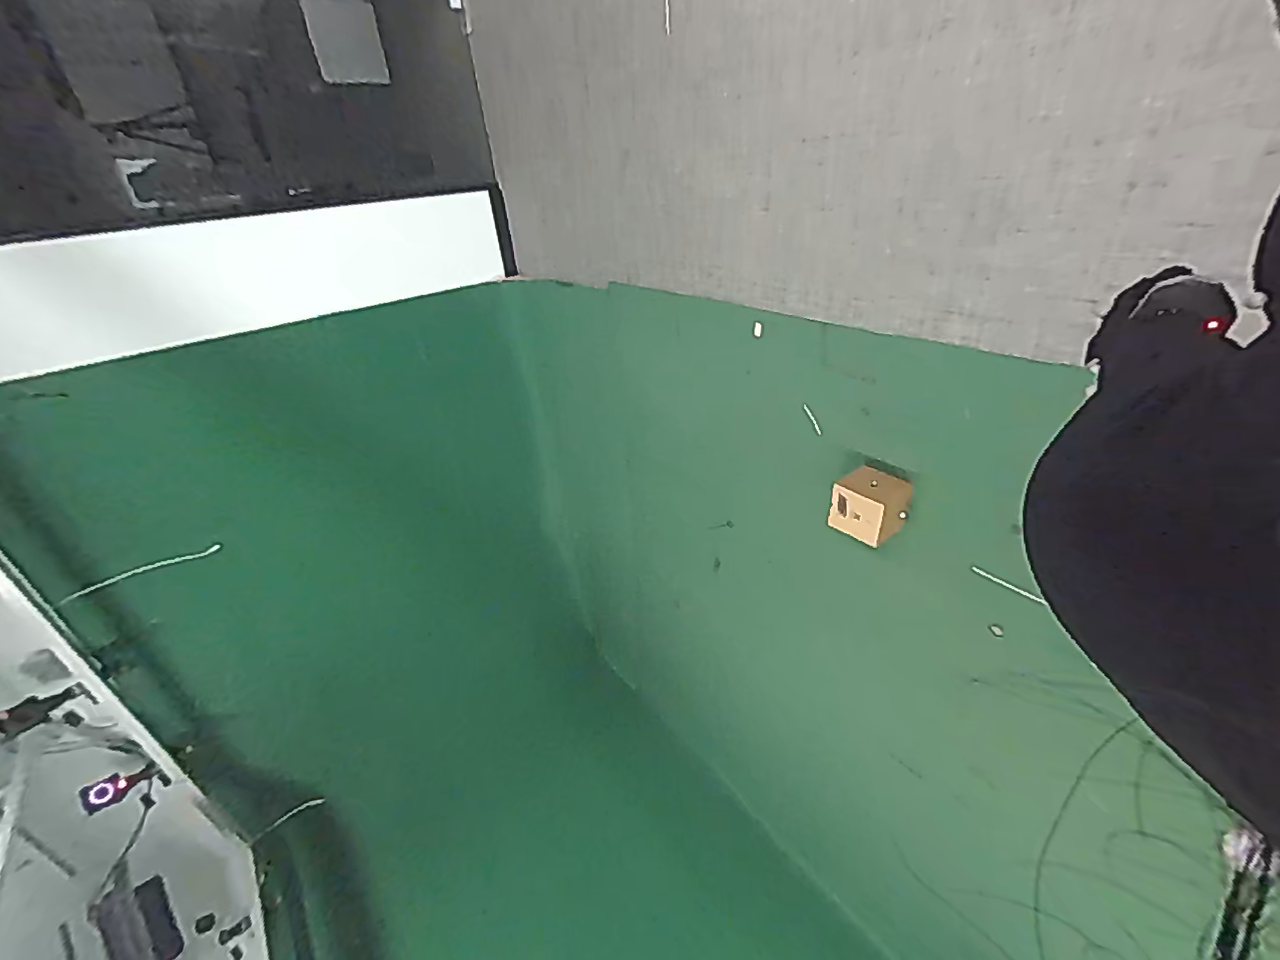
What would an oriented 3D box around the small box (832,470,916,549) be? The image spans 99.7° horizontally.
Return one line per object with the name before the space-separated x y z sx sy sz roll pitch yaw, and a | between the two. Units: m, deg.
small box | 0.747 0.085 1.732 0.179 0.176 0.168 31 136 43
